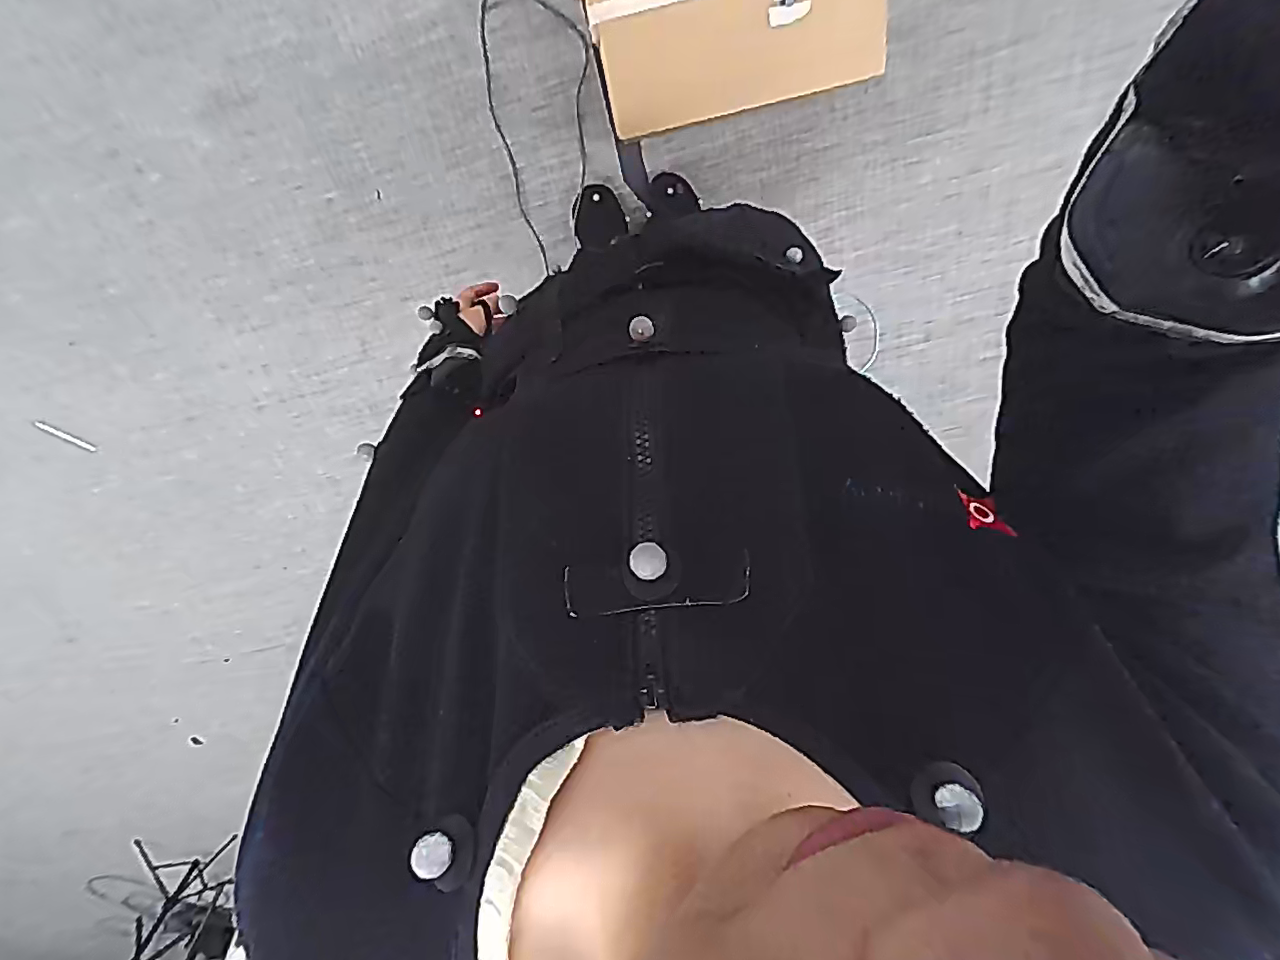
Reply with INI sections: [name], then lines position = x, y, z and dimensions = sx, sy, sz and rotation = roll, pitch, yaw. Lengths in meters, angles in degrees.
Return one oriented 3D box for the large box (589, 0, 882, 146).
[large box]
position = 0.127, -0.766, 0.871
dimensions = 0.408, 0.320, 0.320
rotation = -11, 121, 5
